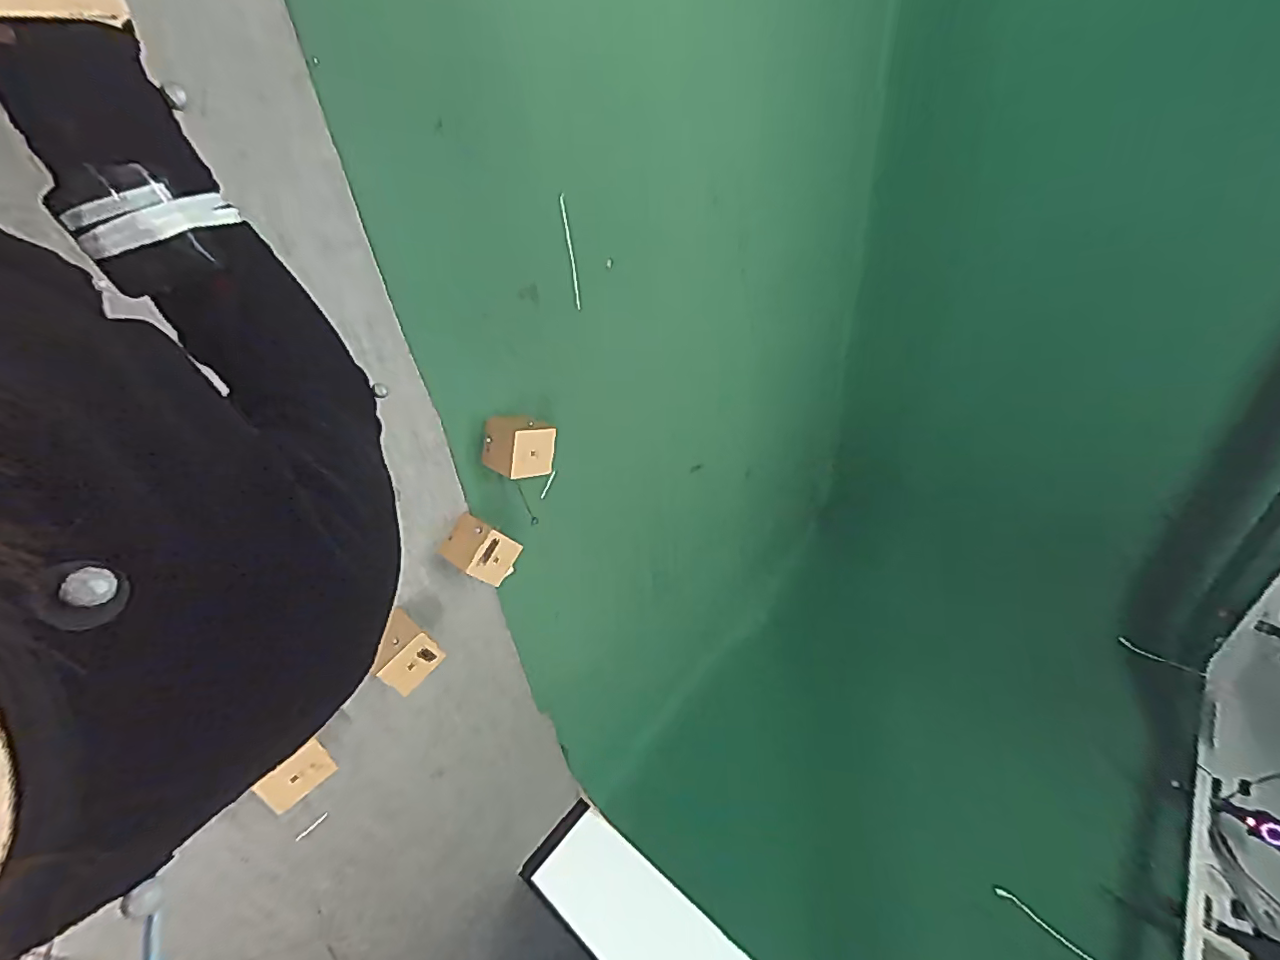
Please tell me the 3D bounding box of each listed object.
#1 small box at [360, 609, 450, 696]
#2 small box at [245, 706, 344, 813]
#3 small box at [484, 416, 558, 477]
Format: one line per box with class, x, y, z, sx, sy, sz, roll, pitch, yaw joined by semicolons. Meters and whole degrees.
small box;-0.763;0.552;1.754;0.179;0.176;0.168;-46;139;-26
small box;-1.011;0.807;1.574;0.179;0.176;0.168;-36;135;-35
small box;-0.408;-0.120;1.850;0.179;0.176;0.168;-10;116;-49
